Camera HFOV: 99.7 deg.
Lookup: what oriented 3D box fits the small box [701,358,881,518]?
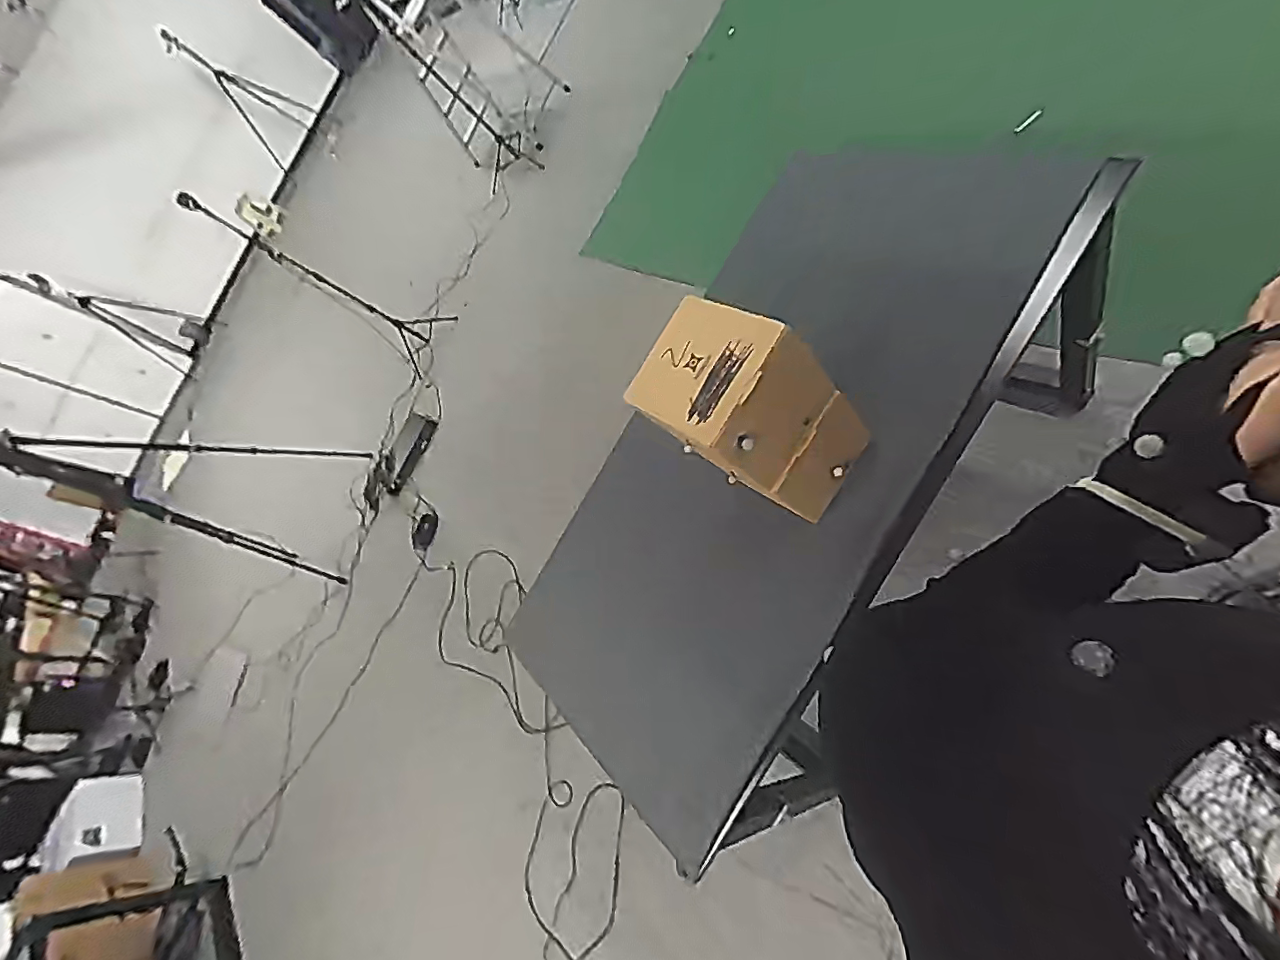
[{"bbox_3d":[0.236,-0.060,0.839,0.179,0.176,0.168,34,94,43],"label":"small box"}]
